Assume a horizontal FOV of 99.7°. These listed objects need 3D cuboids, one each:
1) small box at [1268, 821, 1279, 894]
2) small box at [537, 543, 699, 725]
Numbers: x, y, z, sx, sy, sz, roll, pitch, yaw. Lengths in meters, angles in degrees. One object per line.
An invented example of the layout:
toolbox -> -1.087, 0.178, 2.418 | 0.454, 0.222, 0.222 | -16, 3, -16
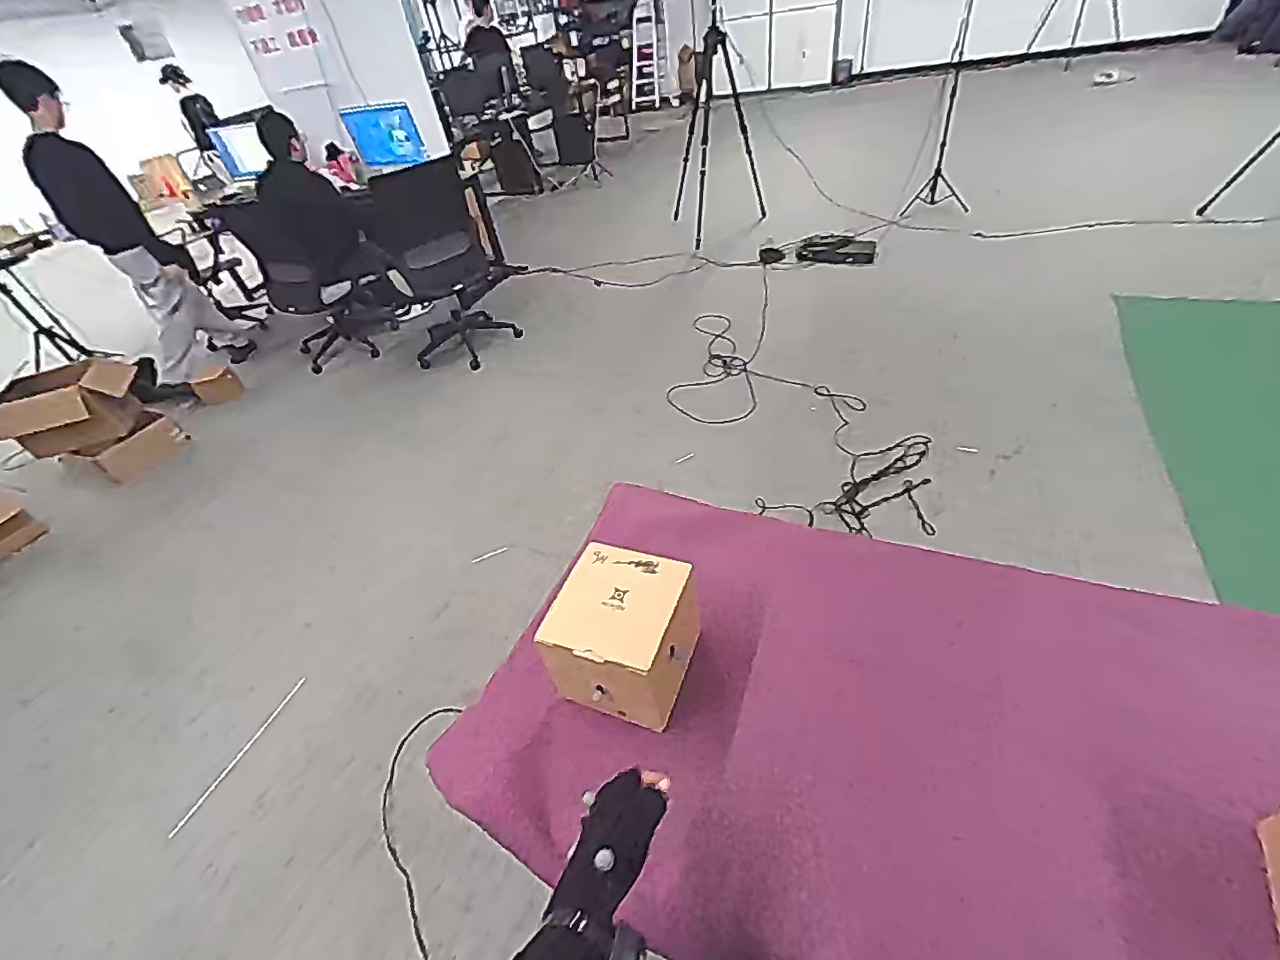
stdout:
small box -> 0.687, 0.384, 0.442 | 0.168, 0.176, 0.179 | 15, 48, 27
small box -> -0.017, 0.222, 0.783 | 0.168, 0.176, 0.179 | 10, 46, 22
